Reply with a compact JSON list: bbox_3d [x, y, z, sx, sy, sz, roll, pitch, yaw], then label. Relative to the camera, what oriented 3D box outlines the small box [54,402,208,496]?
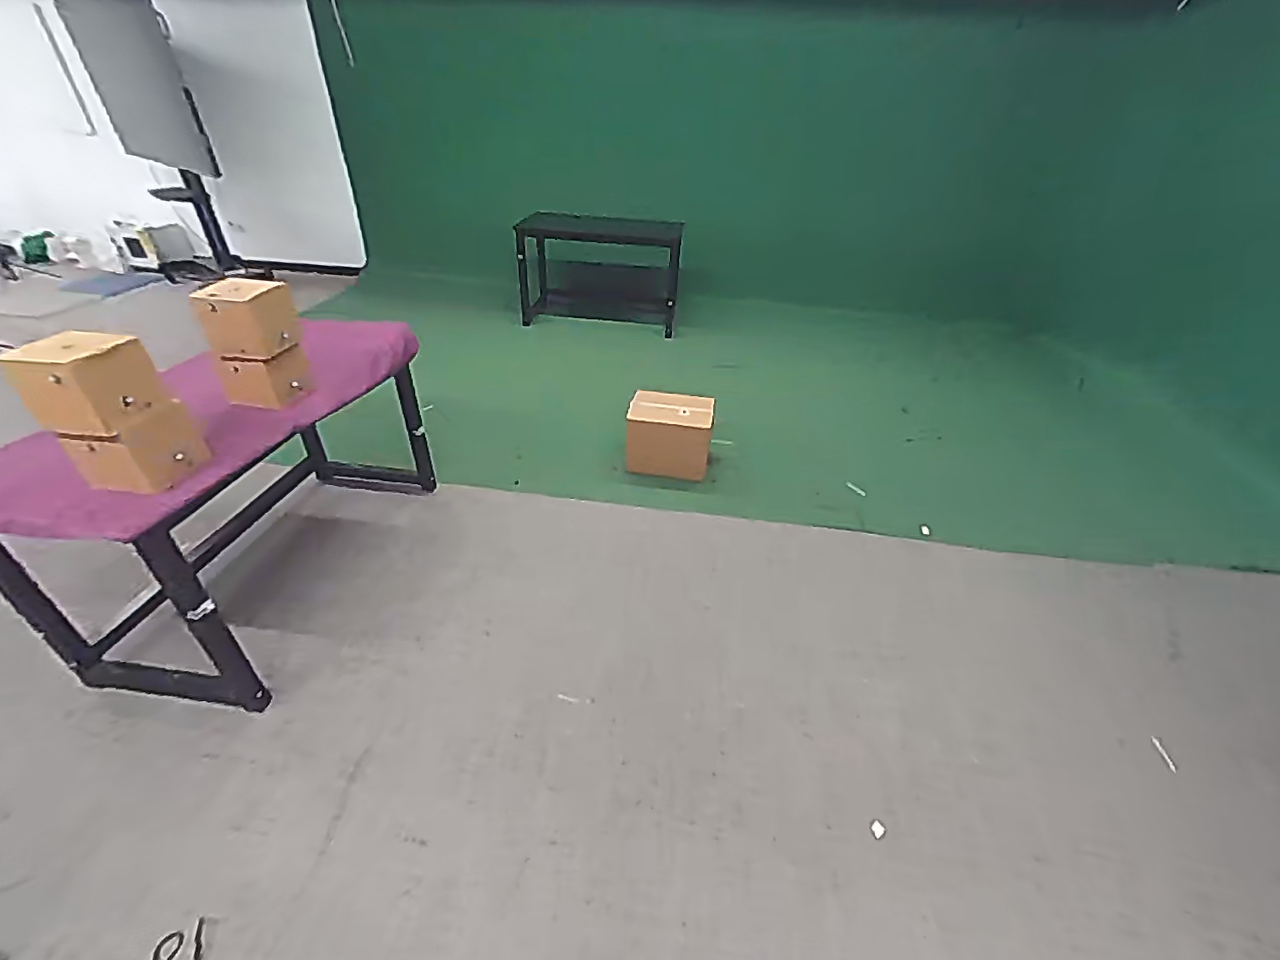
[{"bbox_3d":[-1.191,-0.077,1.277,0.179,0.176,0.168,5,35,5],"label":"small box"}]

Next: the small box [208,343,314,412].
[{"bbox_3d":[-1.136,-0.318,1.636,0.179,0.176,0.168,7,35,6],"label":"small box"}]

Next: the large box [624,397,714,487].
[{"bbox_3d":[0.146,-0.193,2.702,0.408,0.320,0.320,8,35,7],"label":"large box"}]

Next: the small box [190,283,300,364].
[{"bbox_3d":[-1.104,-0.445,1.534,0.168,0.176,0.179,6,35,4],"label":"small box"}]

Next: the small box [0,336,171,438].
[{"bbox_3d":[-1.195,-0.203,1.174,0.179,0.176,0.168,5,34,5],"label":"small box"}]
